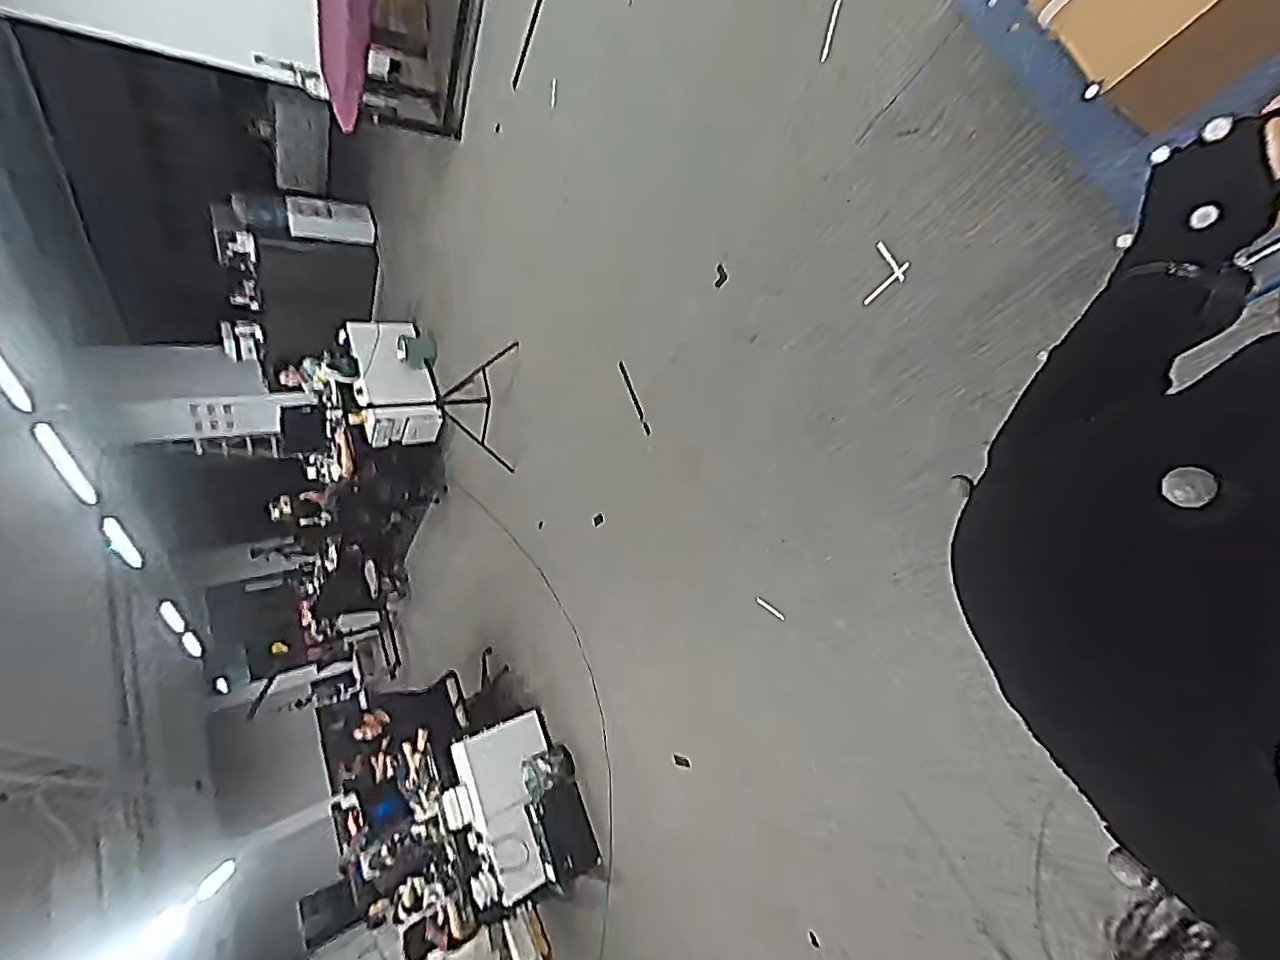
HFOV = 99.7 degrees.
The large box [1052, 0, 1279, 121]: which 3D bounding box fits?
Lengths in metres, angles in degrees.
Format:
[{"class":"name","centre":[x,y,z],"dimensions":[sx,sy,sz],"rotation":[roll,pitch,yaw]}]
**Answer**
[{"class":"large box","centre":[0.840,-0.806,0.733],"dimensions":[0.408,0.320,0.320],"rotation":[-39,66,52]}]
